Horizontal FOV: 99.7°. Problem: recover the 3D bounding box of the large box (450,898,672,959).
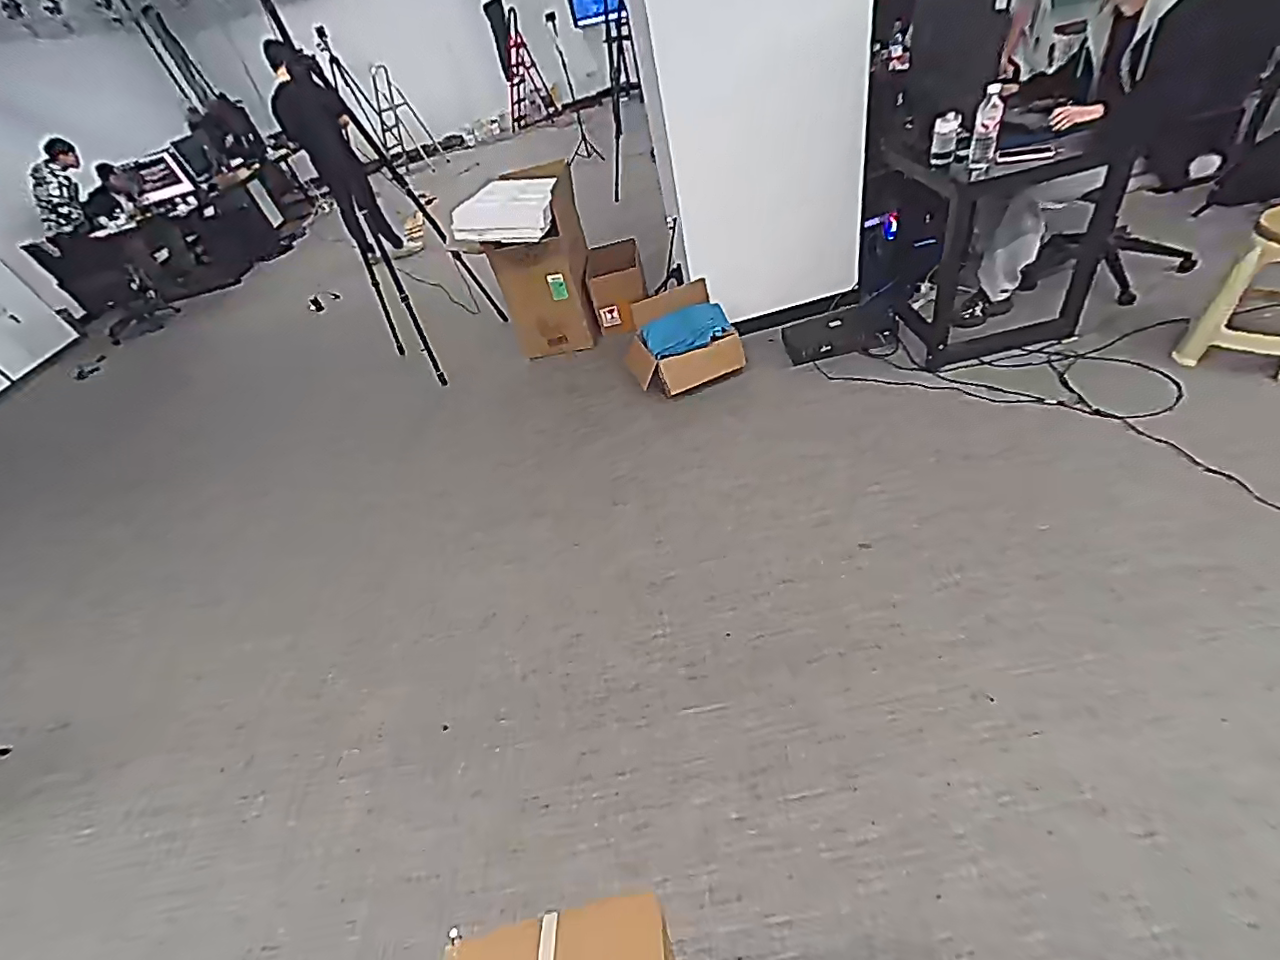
[{"bbox_3d":[-0.073,0.804,0.598,0.320,0.320,0.408,-12,5,-3],"label":"large box"}]
